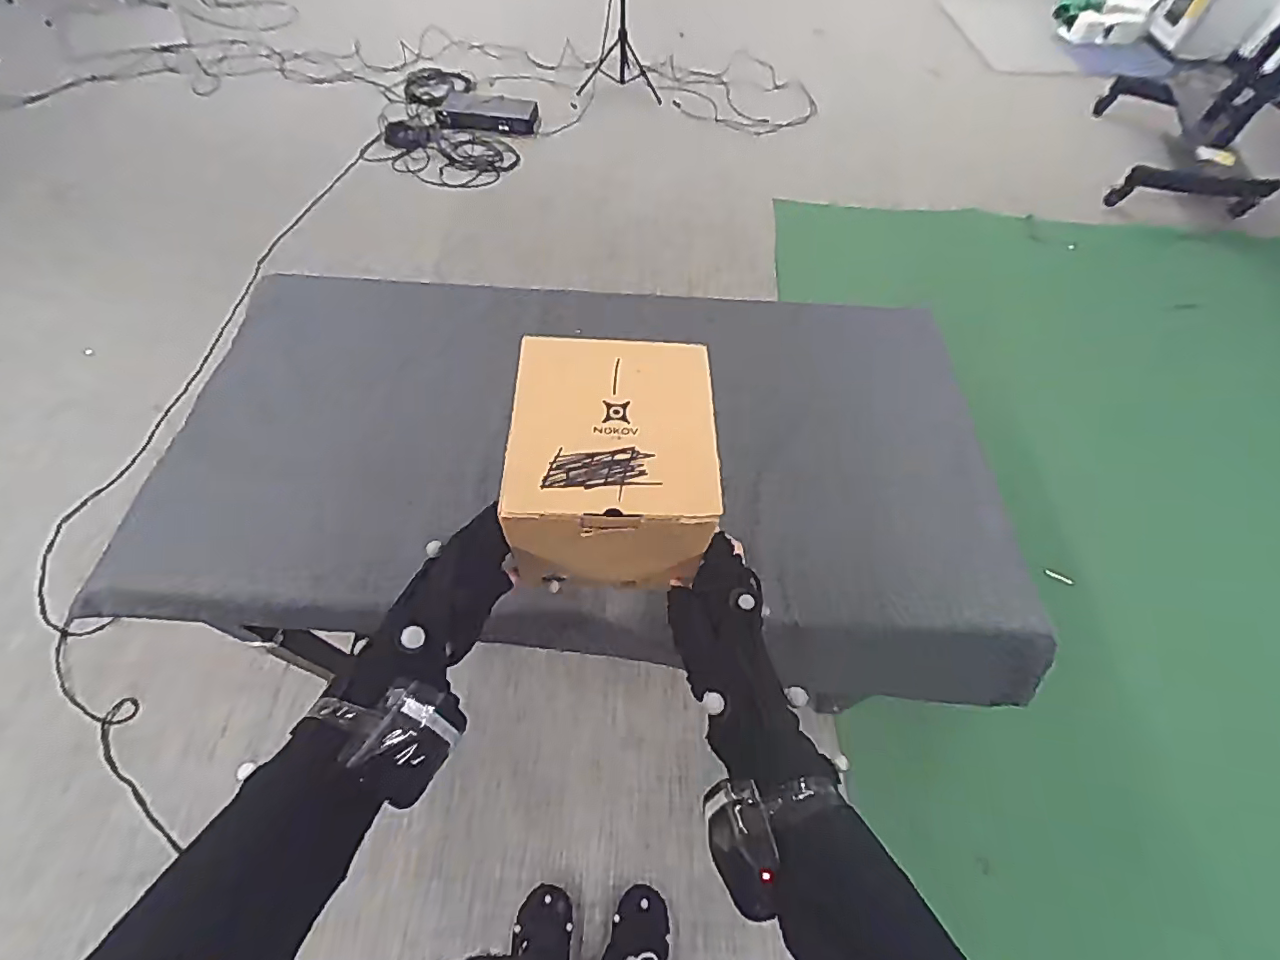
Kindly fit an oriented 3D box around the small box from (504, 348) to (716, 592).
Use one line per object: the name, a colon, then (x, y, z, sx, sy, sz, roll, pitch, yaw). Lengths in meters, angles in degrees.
small box: (-0.026, 0.000, 0.520, 0.168, 0.176, 0.179, 3, 59, -4)
